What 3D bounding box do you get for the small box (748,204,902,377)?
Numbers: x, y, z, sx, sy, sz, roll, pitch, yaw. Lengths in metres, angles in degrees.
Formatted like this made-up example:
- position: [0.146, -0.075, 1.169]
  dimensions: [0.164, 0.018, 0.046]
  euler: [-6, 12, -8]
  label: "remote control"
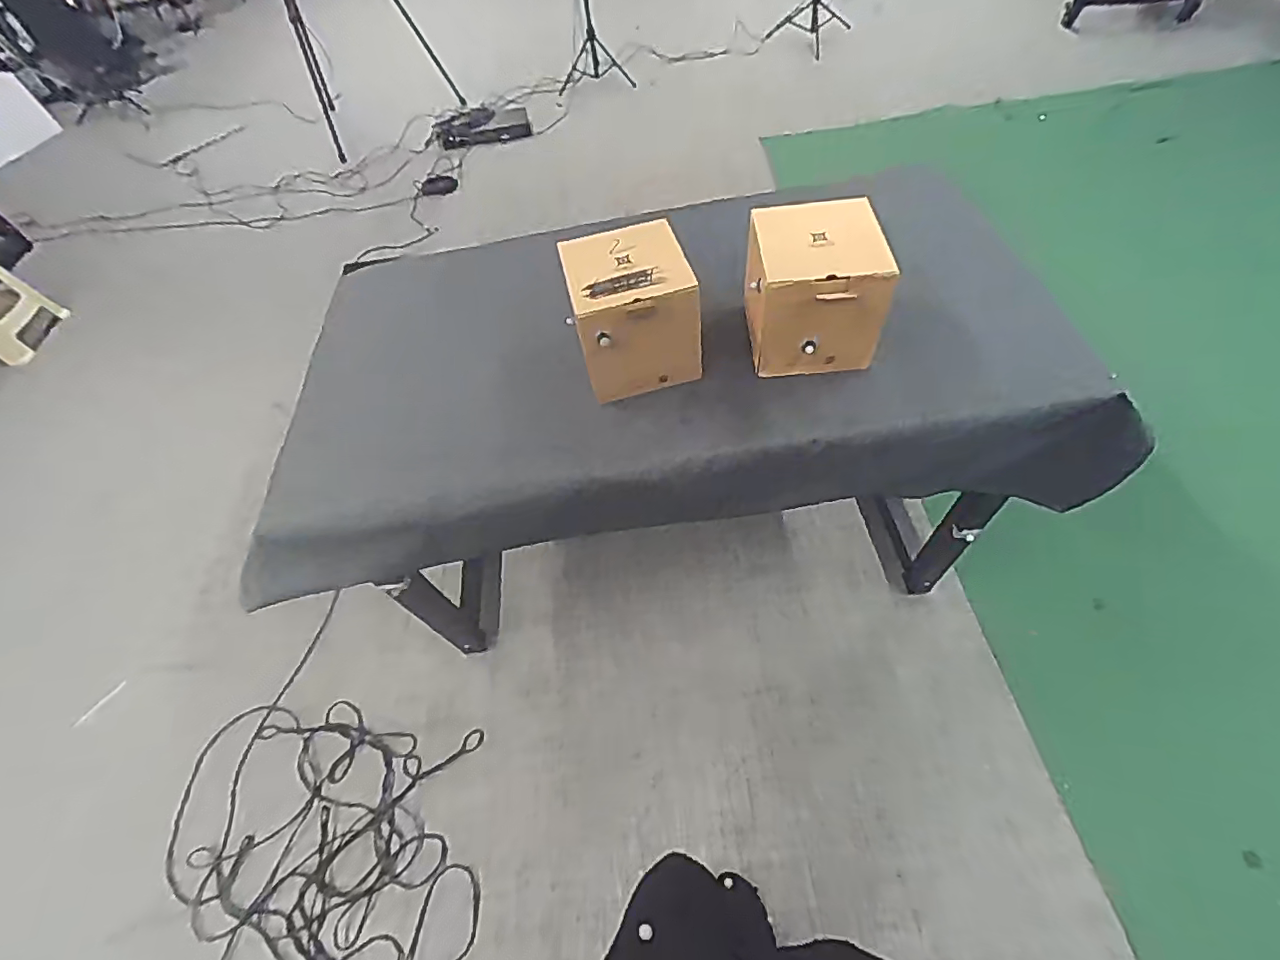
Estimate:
- position: [0.255, -0.274, 0.795]
  dimensions: [0.168, 0.176, 0.179]
  euler: [-3, 56, 4]
  label: "small box"
